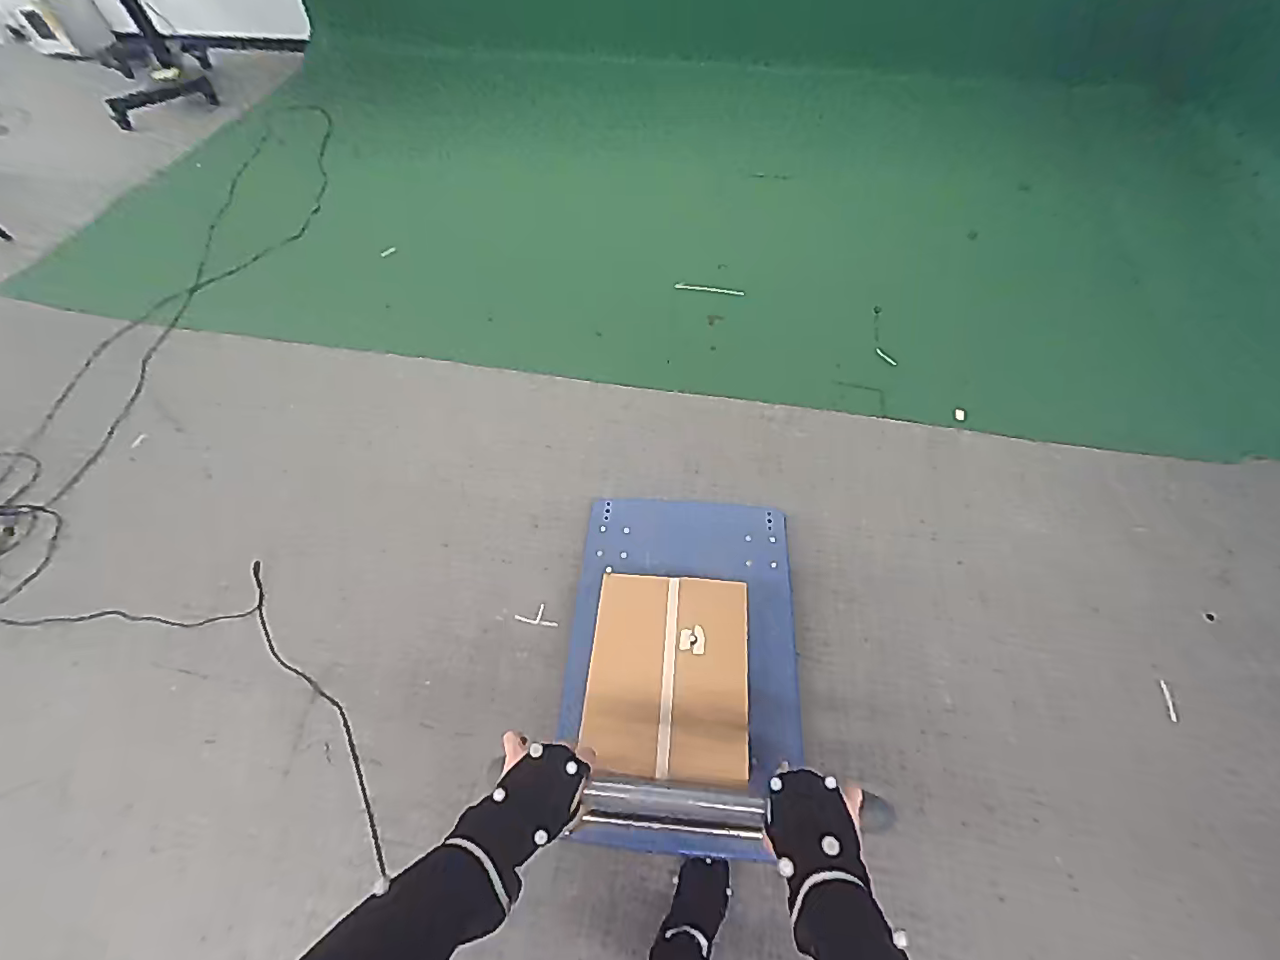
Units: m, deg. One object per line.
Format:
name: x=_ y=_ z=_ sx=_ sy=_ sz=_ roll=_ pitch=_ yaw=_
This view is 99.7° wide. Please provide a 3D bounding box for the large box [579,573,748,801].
large box: x=0.062 y=0.463 z=1.206 sx=0.320 sy=0.320 sz=0.408 roll=3 pitch=55 yaw=5
